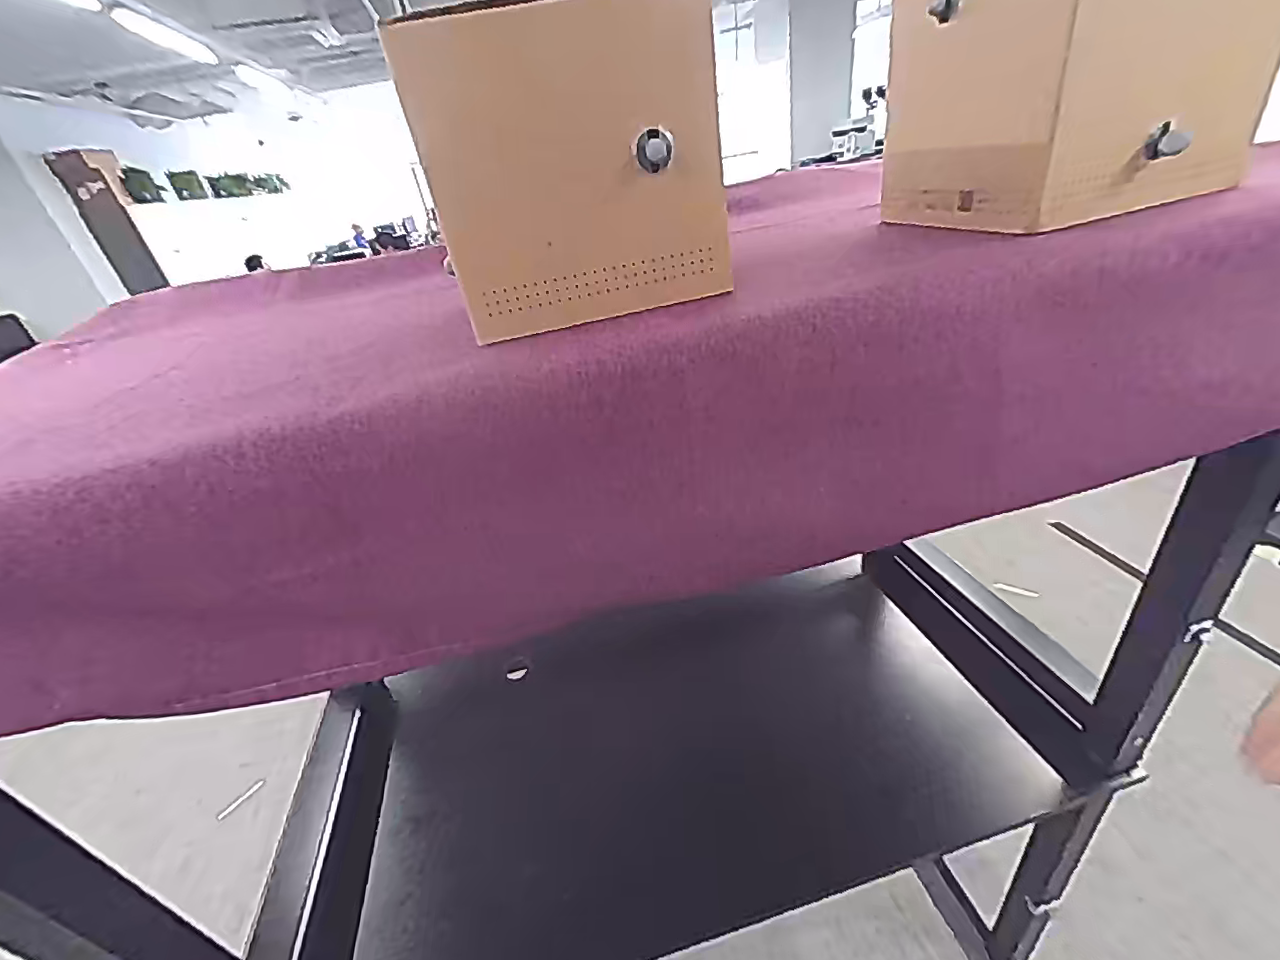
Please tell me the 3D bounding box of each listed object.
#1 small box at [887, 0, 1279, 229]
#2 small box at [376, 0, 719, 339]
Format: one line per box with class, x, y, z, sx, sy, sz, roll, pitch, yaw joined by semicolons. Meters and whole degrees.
small box;0.307;-0.295;0.396;0.179;0.176;0.168;-15;30;-8
small box;-0.050;-0.214;0.381;0.179;0.176;0.168;-15;30;-6
